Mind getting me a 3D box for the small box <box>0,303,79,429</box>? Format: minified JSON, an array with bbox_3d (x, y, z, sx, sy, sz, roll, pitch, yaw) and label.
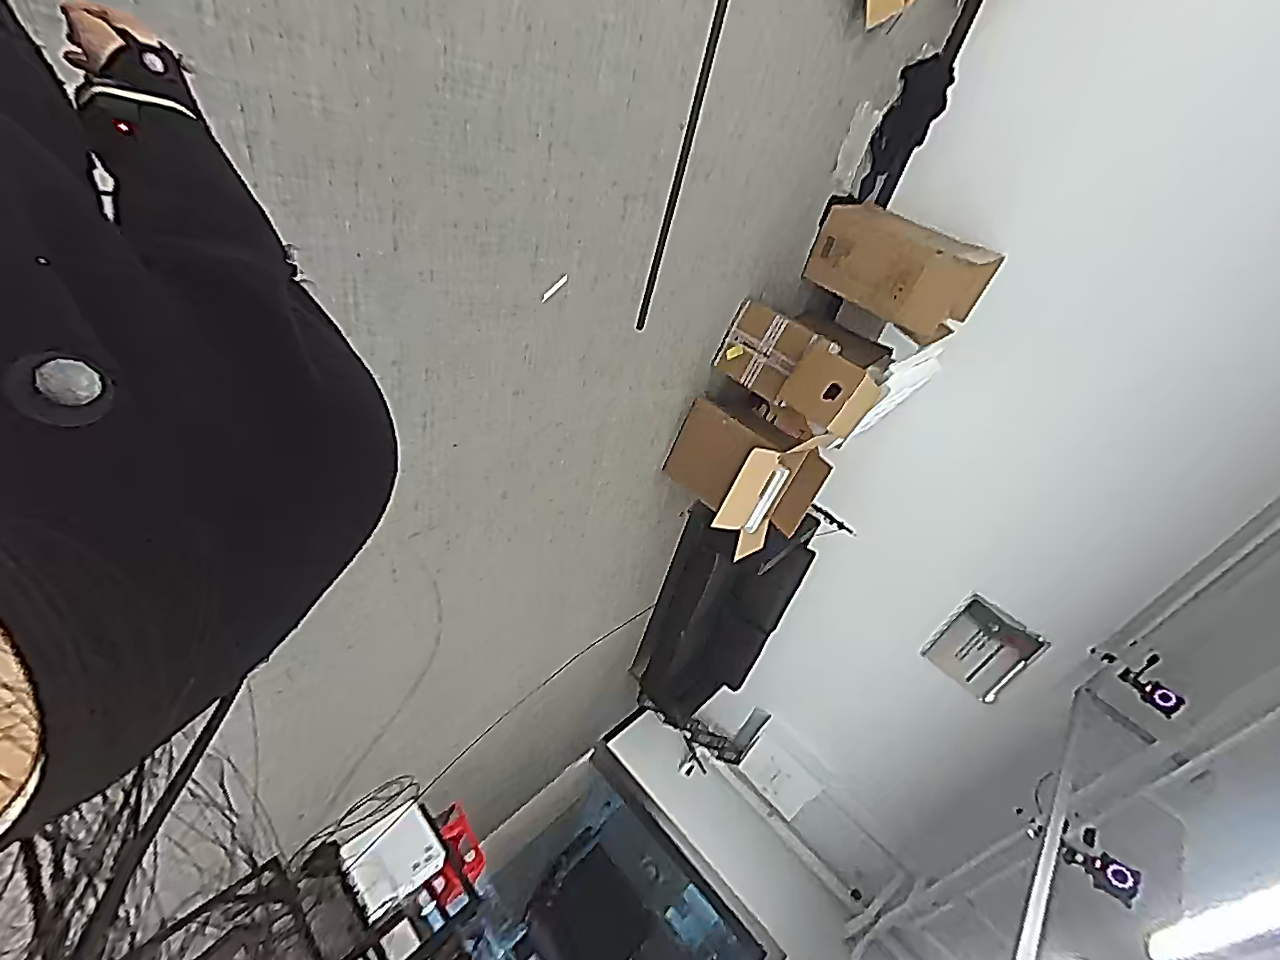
[{"bbox_3d":[-1.181,-0.211,0.986,0.168,0.176,0.179,-22,141,-41],"label":"small box"}]
